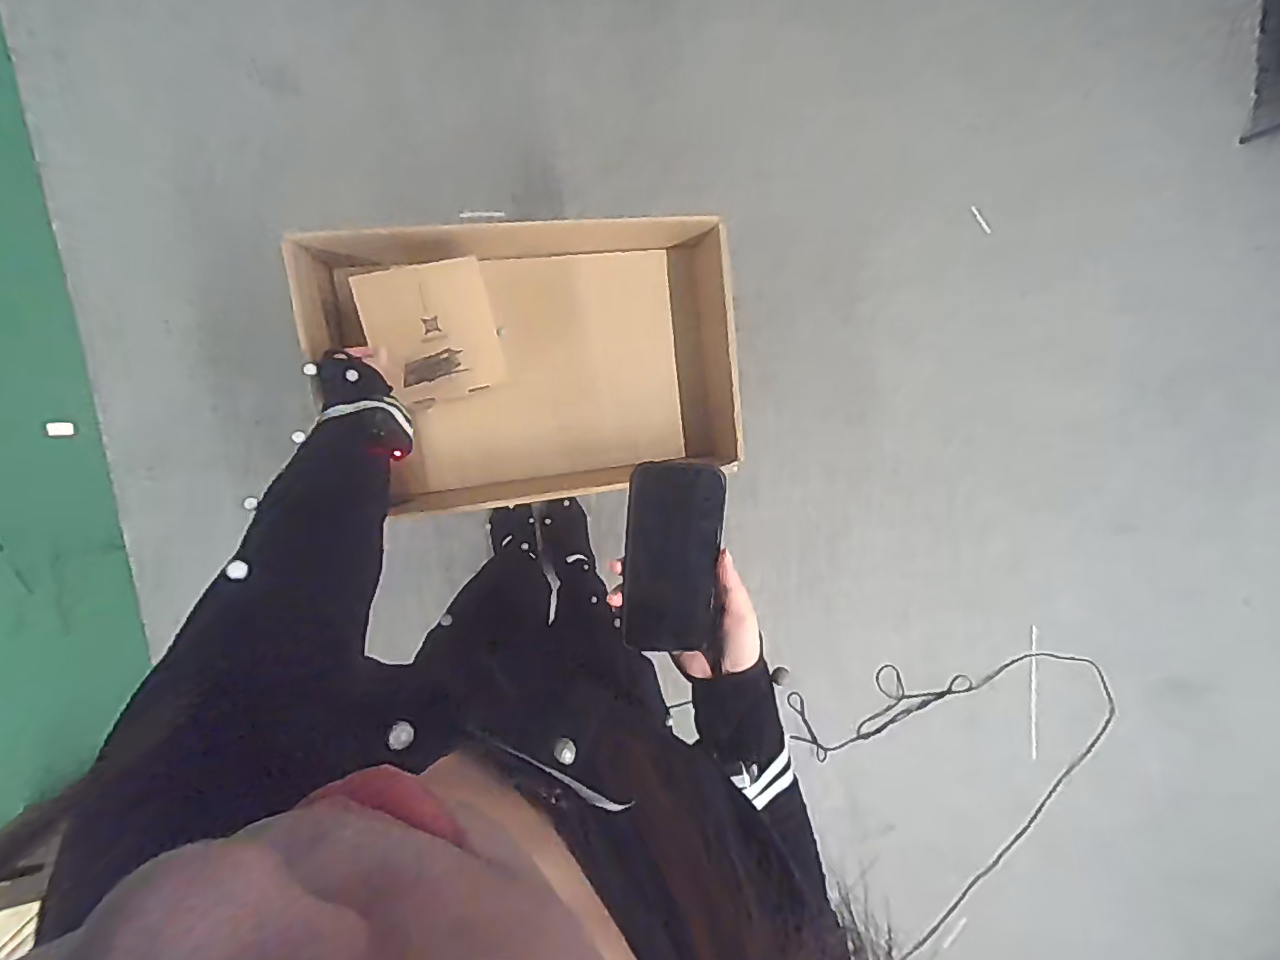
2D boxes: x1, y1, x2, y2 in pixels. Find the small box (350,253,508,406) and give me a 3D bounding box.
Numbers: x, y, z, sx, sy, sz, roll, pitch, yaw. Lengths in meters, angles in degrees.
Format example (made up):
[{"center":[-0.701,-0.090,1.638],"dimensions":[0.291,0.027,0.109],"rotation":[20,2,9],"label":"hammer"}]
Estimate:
[{"center":[-0.295,-0.212,0.800],"dimensions":[0.168,0.176,0.179],"rotation":[-15,100,-11],"label":"small box"}]
